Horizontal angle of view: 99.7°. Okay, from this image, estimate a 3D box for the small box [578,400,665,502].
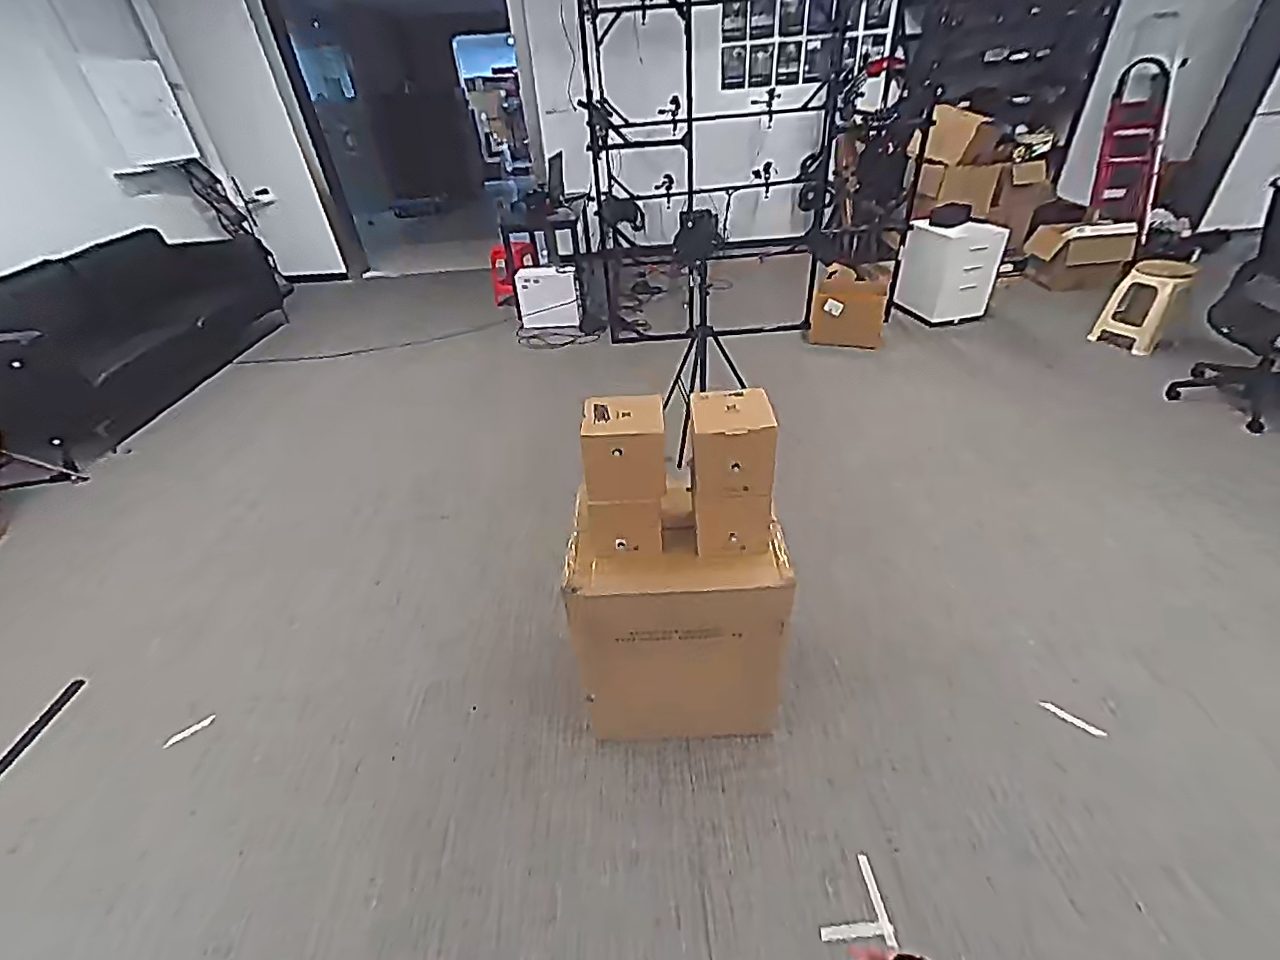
[{"bbox_3d":[-0.036,-0.063,1.205,0.179,0.176,0.168,-3,36,1],"label":"small box"}]

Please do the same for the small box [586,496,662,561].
[{"bbox_3d":[-0.034,0.073,1.297,0.168,0.176,0.179,-4,37,2],"label":"small box"}]

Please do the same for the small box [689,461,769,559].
[{"bbox_3d":[0.204,0.064,1.278,0.168,0.176,0.179,-5,36,3],"label":"small box"}]

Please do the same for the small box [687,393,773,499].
[{"bbox_3d":[0.194,-0.070,1.185,0.168,0.176,0.179,-4,36,4],"label":"small box"}]
